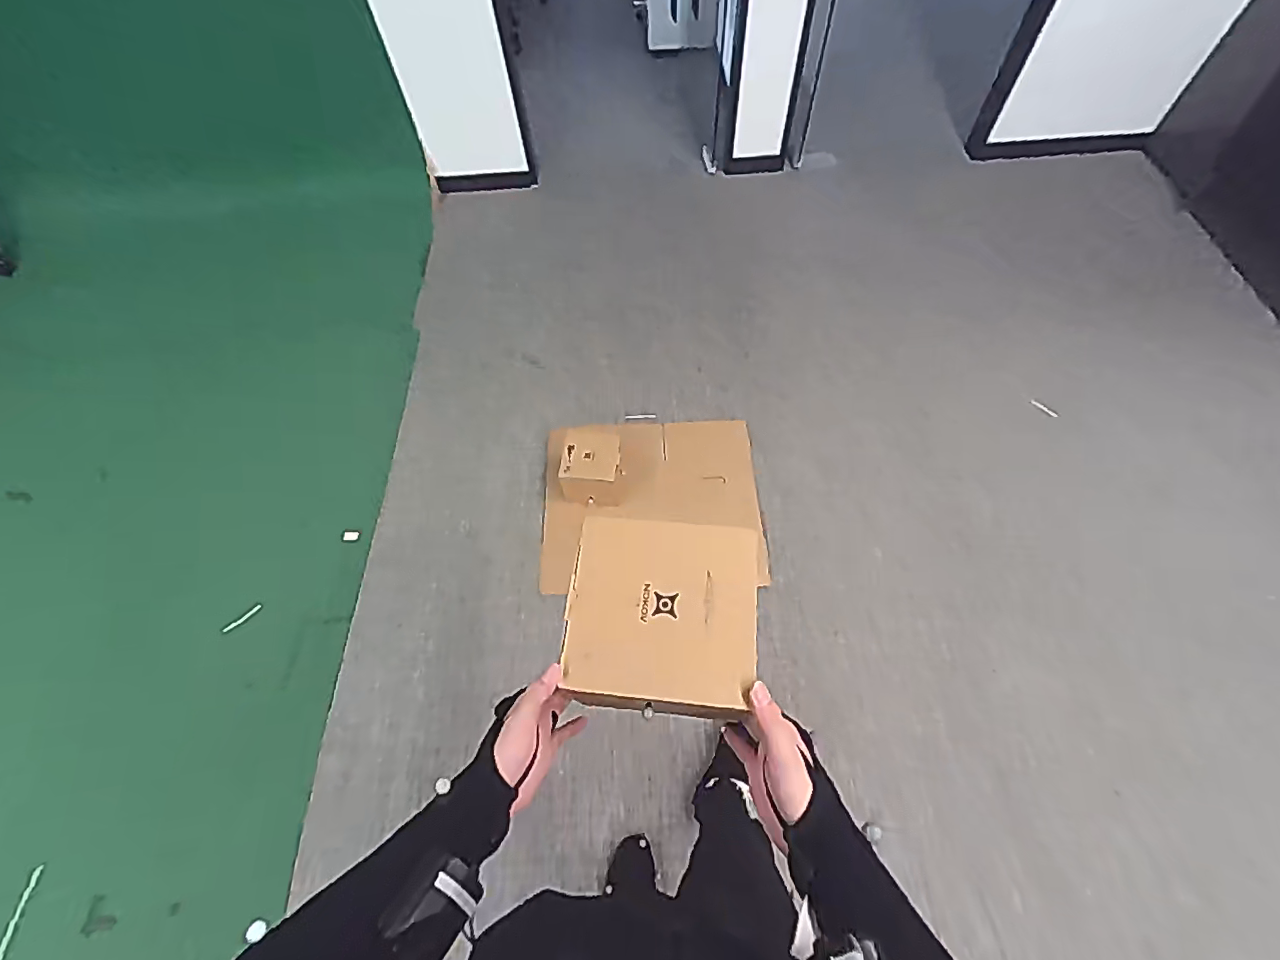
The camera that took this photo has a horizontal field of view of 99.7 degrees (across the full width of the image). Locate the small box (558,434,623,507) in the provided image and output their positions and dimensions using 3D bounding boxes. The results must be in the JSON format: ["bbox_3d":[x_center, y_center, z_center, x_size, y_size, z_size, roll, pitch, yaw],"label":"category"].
[{"bbox_3d":[-0.151,-0.026,1.725,0.179,0.176,0.168,5,60,5],"label":"small box"}]

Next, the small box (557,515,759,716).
[{"bbox_3d":[0.027,0.149,0.572,0.179,0.176,0.168,4,63,6],"label":"small box"}]
